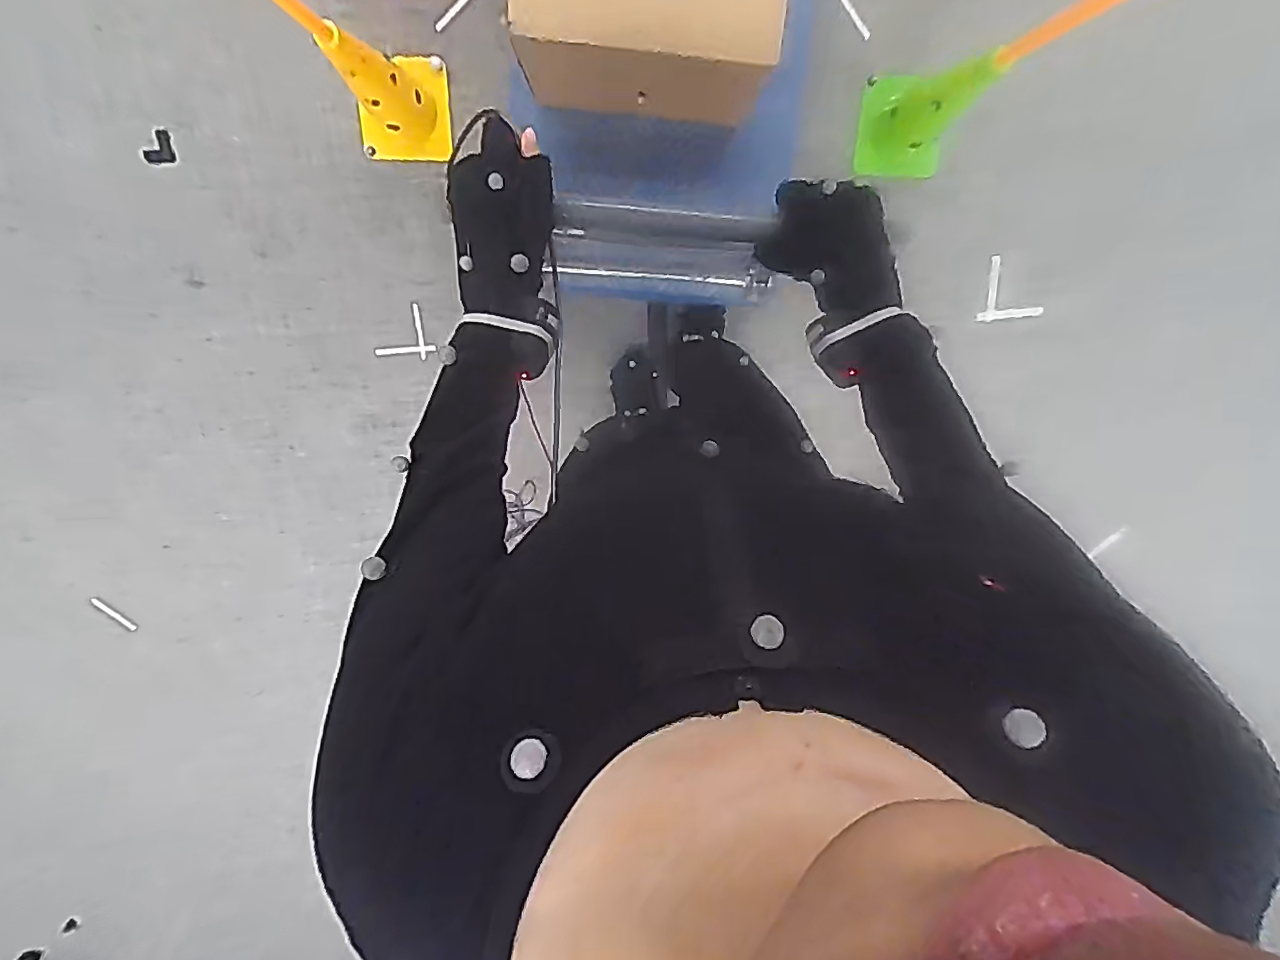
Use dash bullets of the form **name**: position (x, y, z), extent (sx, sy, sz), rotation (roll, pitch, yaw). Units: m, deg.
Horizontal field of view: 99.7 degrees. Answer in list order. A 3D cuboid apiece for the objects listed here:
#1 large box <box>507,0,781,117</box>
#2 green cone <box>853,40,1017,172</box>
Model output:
- **large box**: position (0.012, -0.834, 0.896), extent (0.408, 0.320, 0.320), rotation (4, 108, -3)
- **green cone**: position (0.610, -0.777, 1.090), extent (0.202, 0.368, 0.200), rotation (0, 108, -4)
